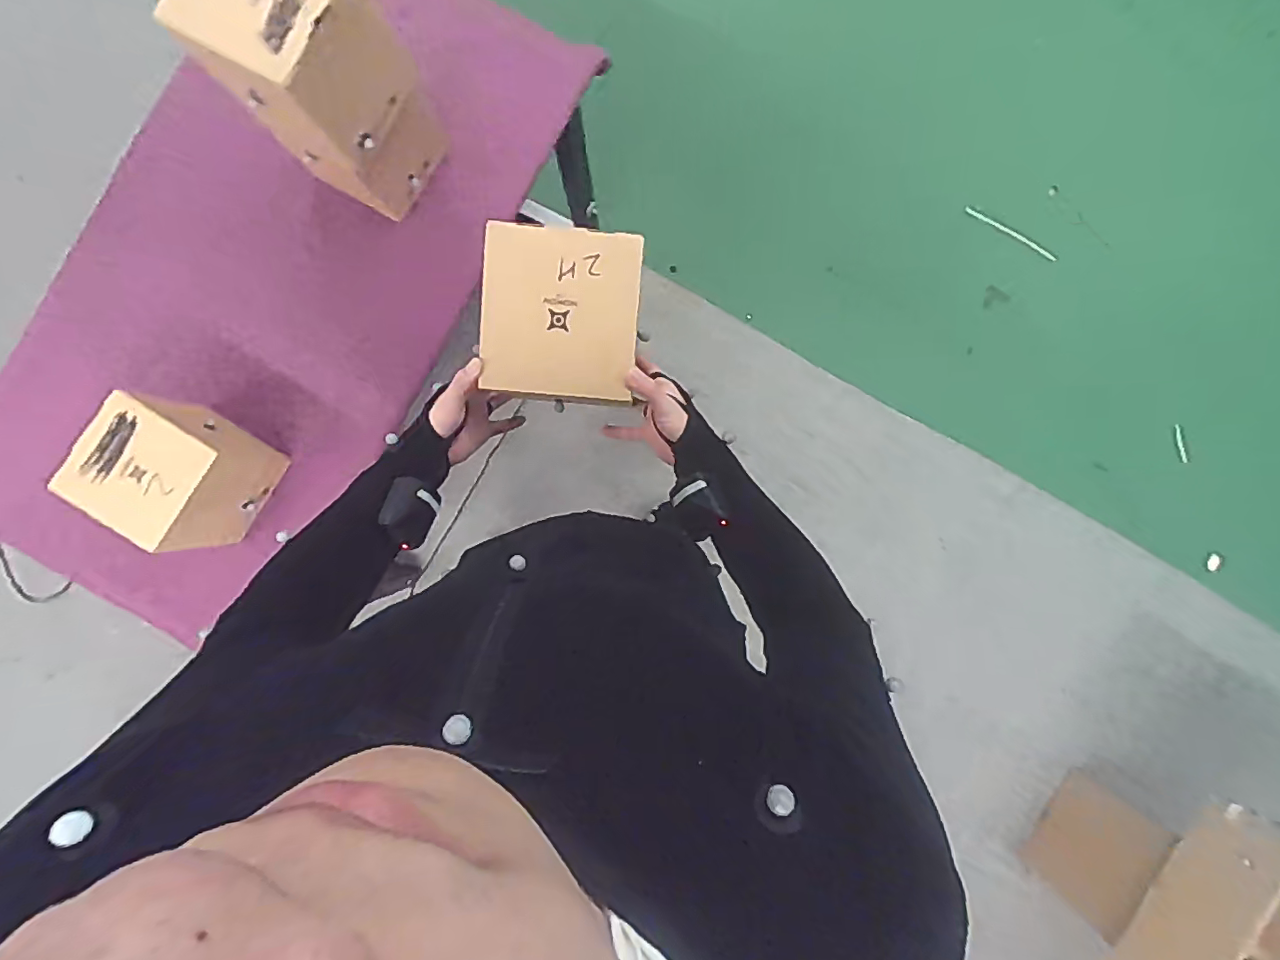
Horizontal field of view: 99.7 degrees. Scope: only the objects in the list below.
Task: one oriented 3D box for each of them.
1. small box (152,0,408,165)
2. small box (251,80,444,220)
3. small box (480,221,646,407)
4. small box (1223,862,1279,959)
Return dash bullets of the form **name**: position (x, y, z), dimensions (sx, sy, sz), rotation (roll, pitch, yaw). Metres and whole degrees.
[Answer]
- **small box**: position (-0.433, -0.541, 0.684), dimensions (0.179, 0.176, 0.168), rotation (29, 90, 3)
- **small box**: position (-0.447, -0.548, 0.849), dimensions (0.179, 0.176, 0.168), rotation (31, 90, 1)
- **small box**: position (-0.083, -0.183, 0.650), dimensions (0.168, 0.176, 0.179), rotation (5, 95, -2)
- **small box**: position (1.400, 0.949, 1.116), dimensions (0.179, 0.176, 0.168), rotation (37, 88, 0)
